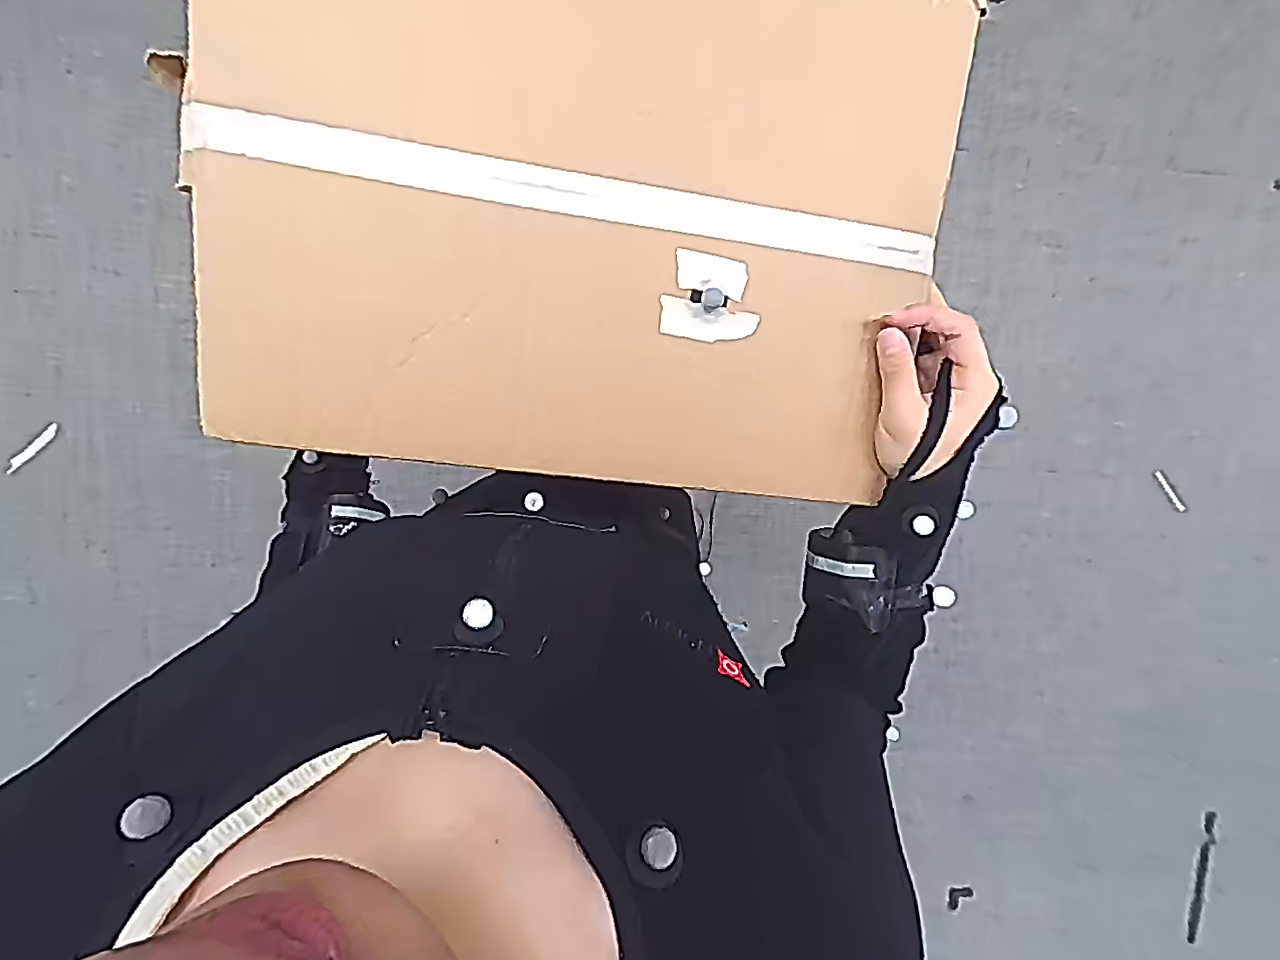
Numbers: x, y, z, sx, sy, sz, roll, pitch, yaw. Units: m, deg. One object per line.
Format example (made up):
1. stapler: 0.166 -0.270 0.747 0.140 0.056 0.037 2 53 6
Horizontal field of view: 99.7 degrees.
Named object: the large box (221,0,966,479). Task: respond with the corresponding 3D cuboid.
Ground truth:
1. large box: -0.042 -0.192 0.451 0.408 0.320 0.320 5 101 -10
